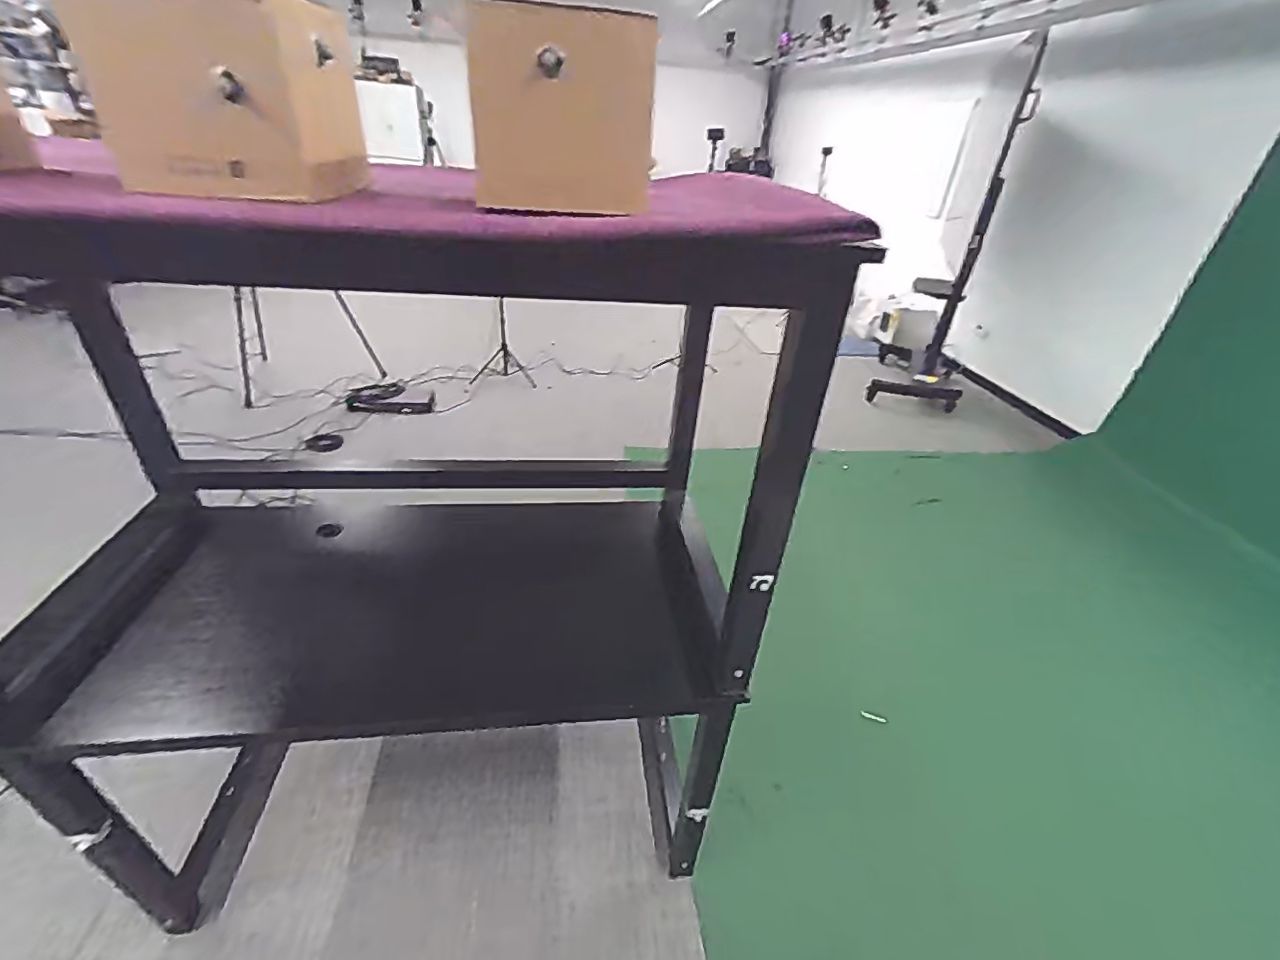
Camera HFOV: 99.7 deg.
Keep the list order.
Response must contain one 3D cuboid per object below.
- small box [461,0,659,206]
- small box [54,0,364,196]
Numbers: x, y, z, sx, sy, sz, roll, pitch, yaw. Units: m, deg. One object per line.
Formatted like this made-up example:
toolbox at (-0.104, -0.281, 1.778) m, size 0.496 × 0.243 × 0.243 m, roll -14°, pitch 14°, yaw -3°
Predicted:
small box at (-0.081, -0.391, 0.576) m, size 0.179 × 0.176 × 0.168 m, roll -1°, pitch 31°, yaw -8°
small box at (-0.389, -0.381, 0.525) m, size 0.168 × 0.176 × 0.179 m, roll 1°, pitch 32°, yaw -7°
